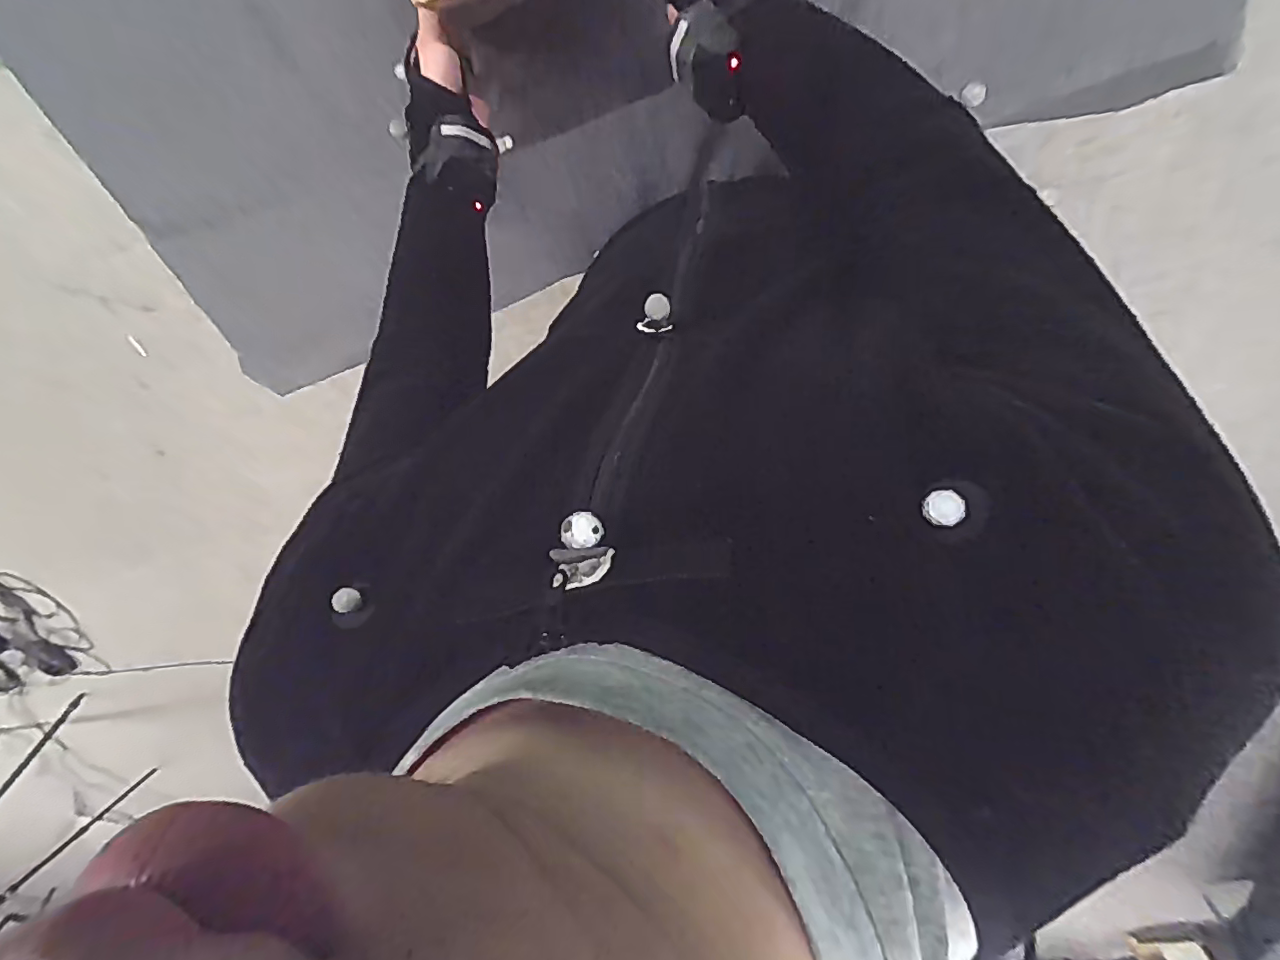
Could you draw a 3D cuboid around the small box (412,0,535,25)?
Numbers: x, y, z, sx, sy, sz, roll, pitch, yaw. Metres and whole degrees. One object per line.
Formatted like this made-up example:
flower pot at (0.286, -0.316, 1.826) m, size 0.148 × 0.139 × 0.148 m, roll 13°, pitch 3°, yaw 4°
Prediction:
small box at (-0.119, -0.501, 0.431) m, size 0.179 × 0.176 × 0.168 m, roll -16°, pitch 124°, yaw 13°
